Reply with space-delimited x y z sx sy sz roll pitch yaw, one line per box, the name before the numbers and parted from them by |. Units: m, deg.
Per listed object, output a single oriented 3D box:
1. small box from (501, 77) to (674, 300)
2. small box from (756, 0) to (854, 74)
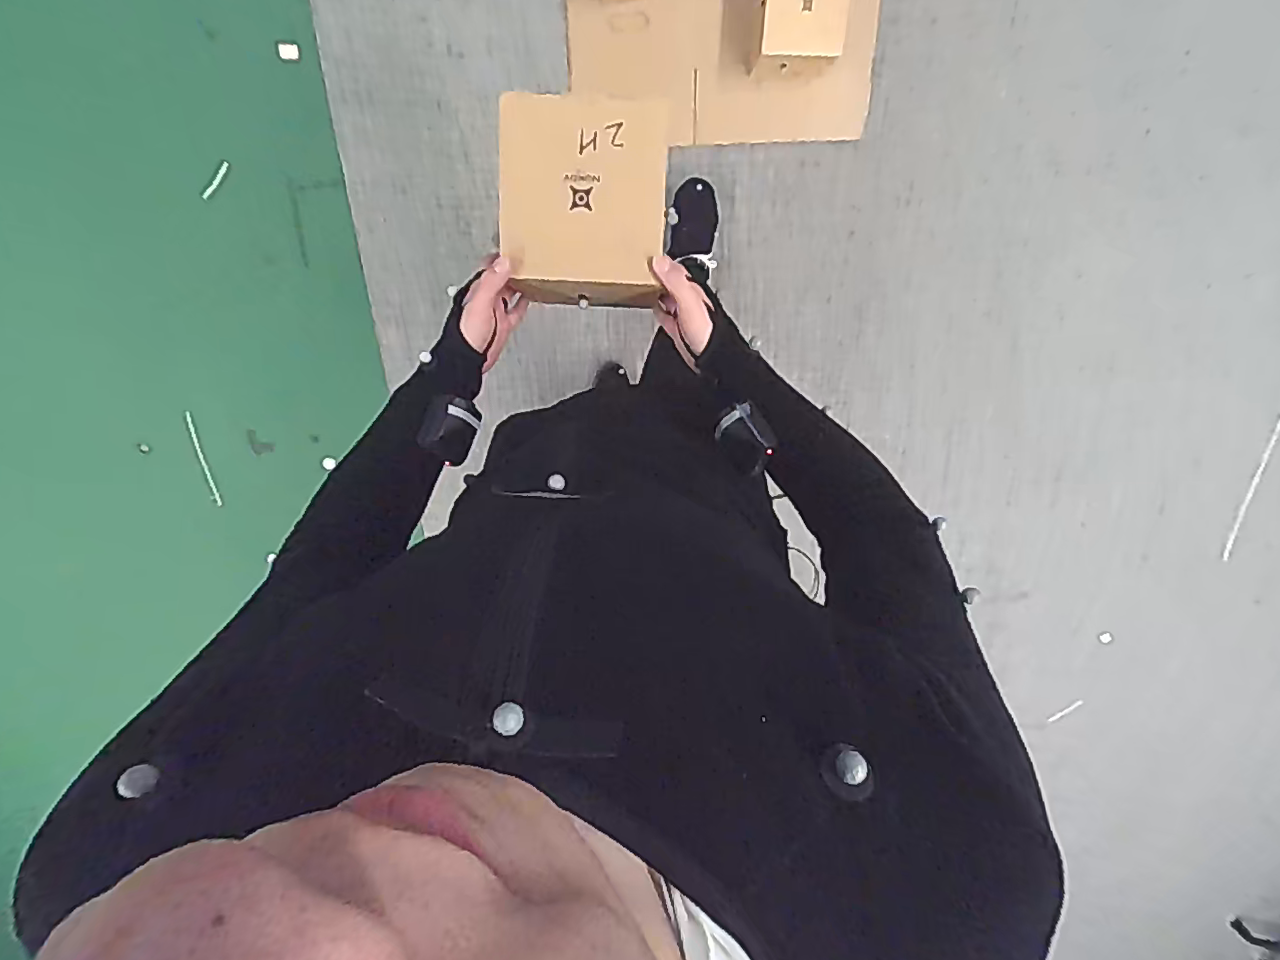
small box | -0.054 -0.306 0.606 0.168 0.176 0.179 3 99 -1
small box | 0.339 -0.967 1.119 0.168 0.176 0.179 3 112 2
